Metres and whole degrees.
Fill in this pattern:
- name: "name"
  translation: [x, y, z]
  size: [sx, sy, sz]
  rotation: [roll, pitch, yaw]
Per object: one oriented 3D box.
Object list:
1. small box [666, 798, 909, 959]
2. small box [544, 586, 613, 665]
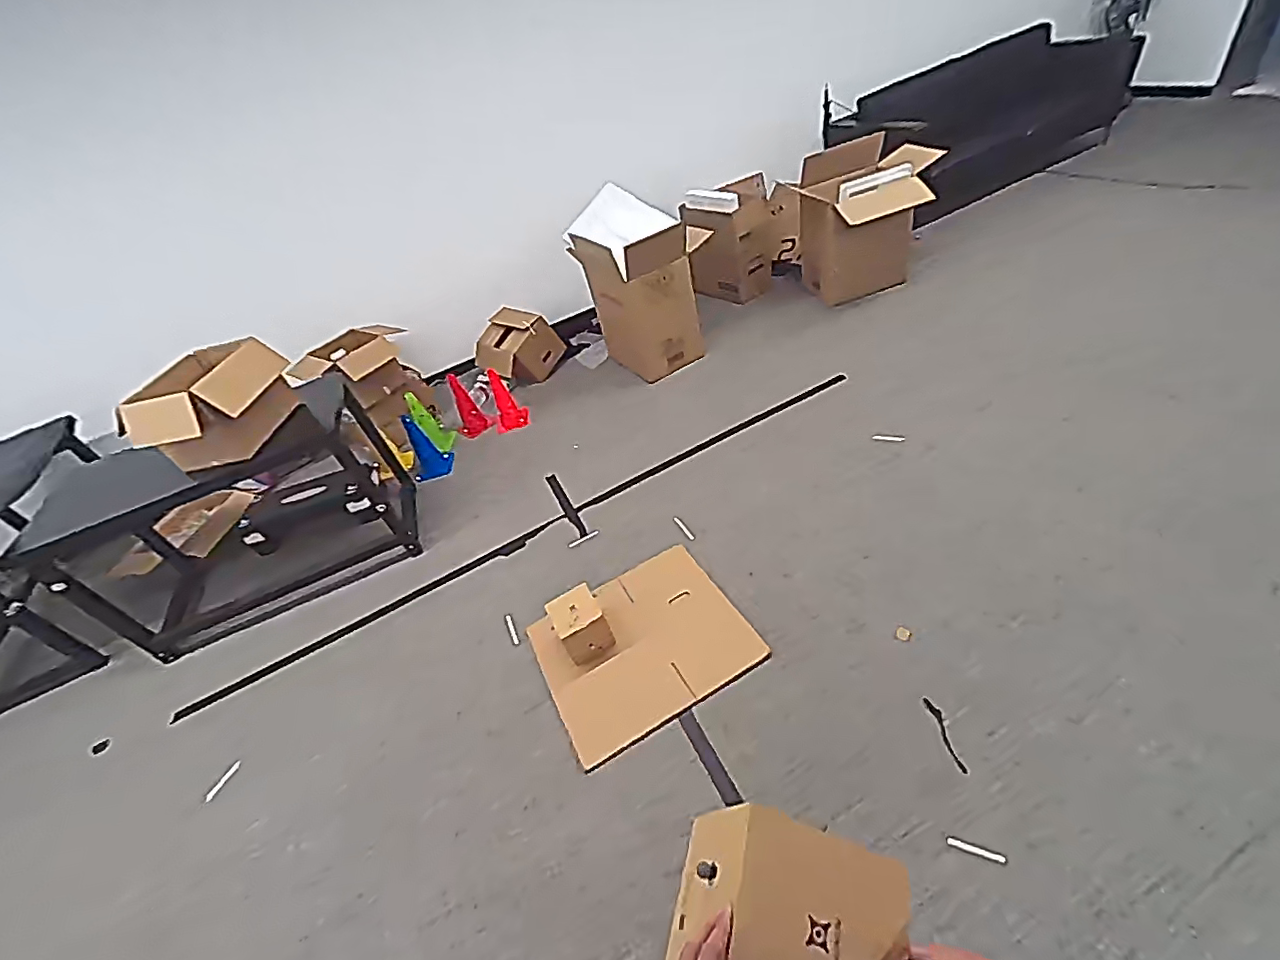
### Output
- name: "small box"
  translation: [0.142, 0.452, 0.547]
  size: [0.179, 0.176, 0.168]
  rotation: [24, 51, -1]
- name: "small box"
  translation: [-0.215, 0.518, 1.917]
  size: [0.168, 0.176, 0.179]
  rotation: [-28, 41, -12]
